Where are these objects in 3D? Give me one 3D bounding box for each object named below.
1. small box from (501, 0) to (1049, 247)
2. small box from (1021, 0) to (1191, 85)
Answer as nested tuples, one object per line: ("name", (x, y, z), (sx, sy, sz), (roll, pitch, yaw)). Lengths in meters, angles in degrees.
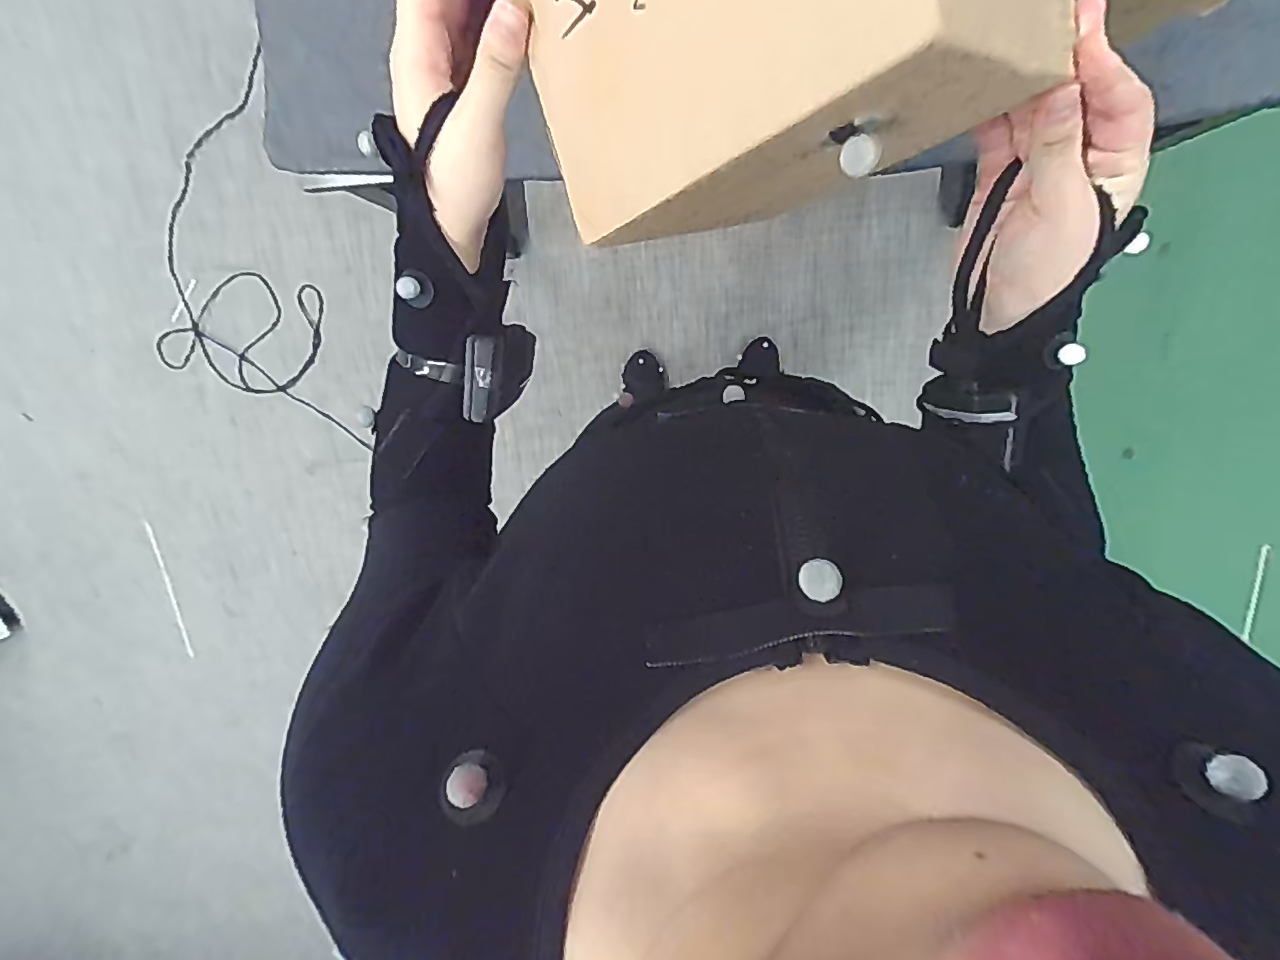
("small box", (0.058, -0.224, 0.241), (0.179, 0.176, 0.168), (3, 115, 50))
("small box", (0.403, -0.509, 0.509), (0.168, 0.176, 0.179), (-1, 104, 6))
